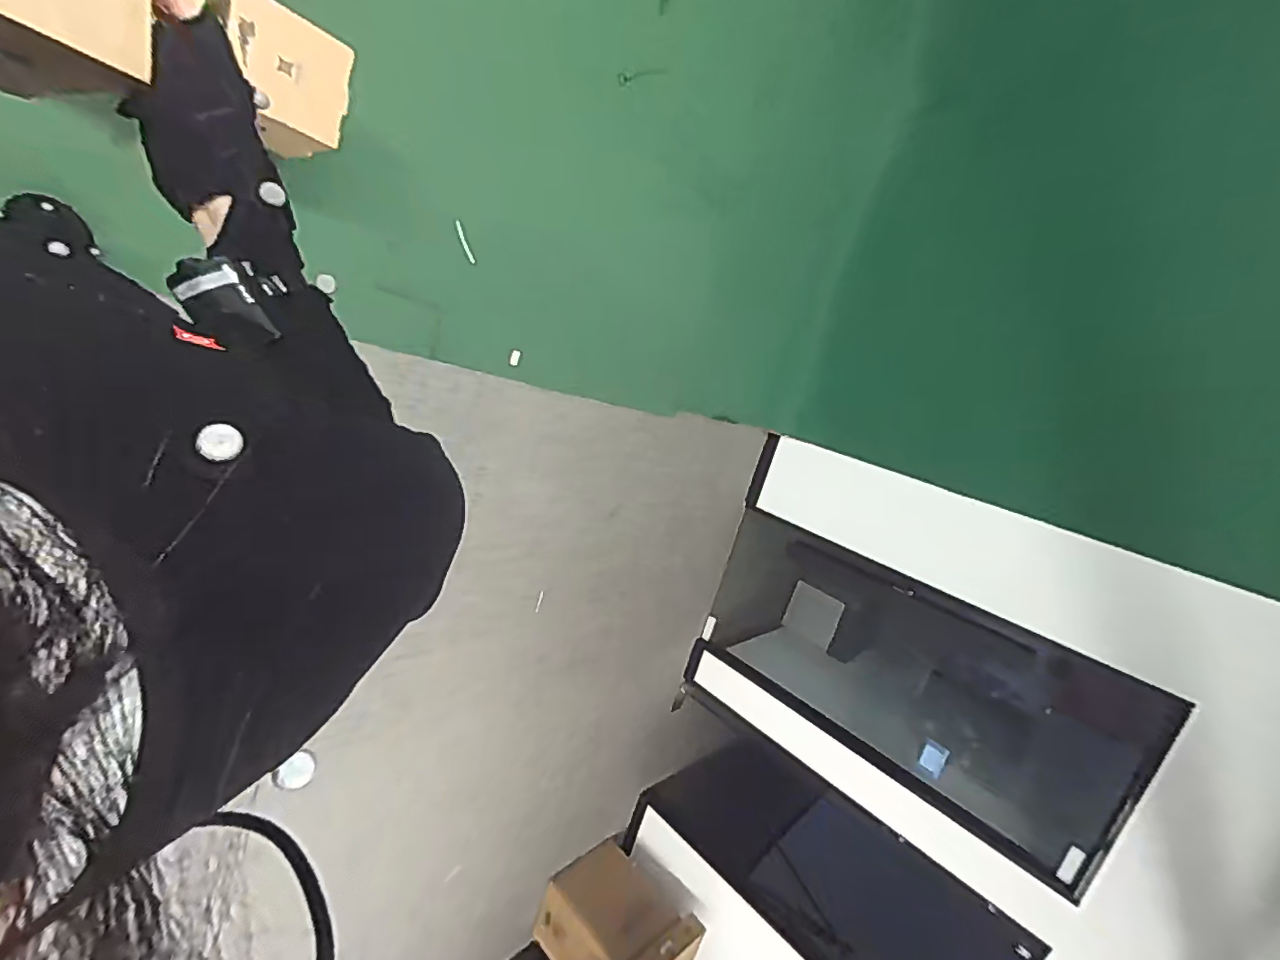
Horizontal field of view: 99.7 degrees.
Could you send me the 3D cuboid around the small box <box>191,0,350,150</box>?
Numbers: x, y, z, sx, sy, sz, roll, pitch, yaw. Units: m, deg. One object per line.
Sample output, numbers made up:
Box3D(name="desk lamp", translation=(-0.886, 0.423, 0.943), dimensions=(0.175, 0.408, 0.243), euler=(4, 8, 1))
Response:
Box3D(name="small box", translation=(-0.640, -0.702, 0.937), dimensions=(0.179, 0.176, 0.168), euler=(5, 106, -50))
